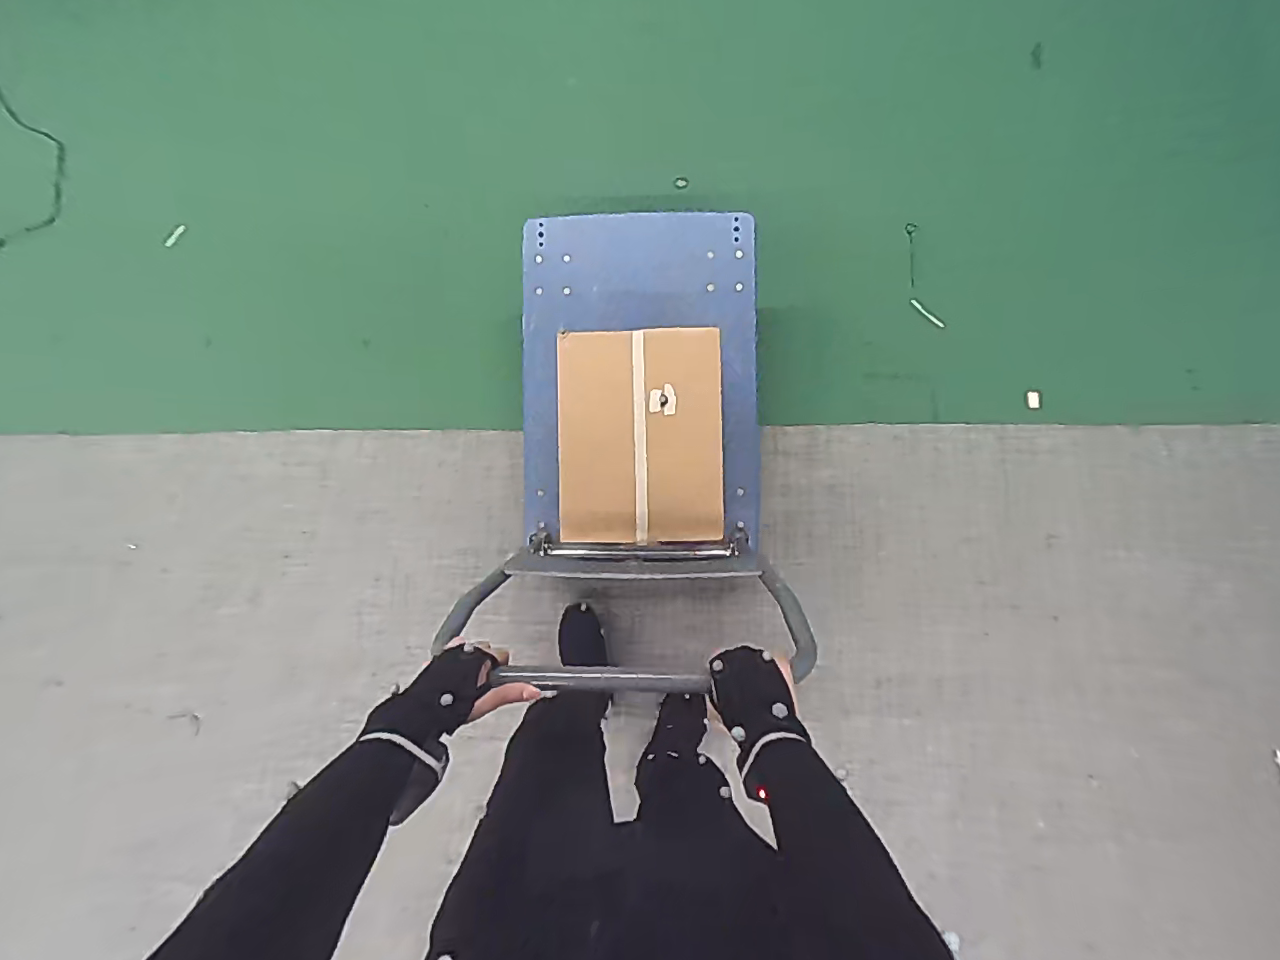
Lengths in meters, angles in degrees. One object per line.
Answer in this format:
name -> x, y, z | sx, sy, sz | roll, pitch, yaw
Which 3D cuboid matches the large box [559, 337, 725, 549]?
large box -> 0.011, -0.066, 1.179 | 0.320, 0.320, 0.408 | -1, 89, 3
